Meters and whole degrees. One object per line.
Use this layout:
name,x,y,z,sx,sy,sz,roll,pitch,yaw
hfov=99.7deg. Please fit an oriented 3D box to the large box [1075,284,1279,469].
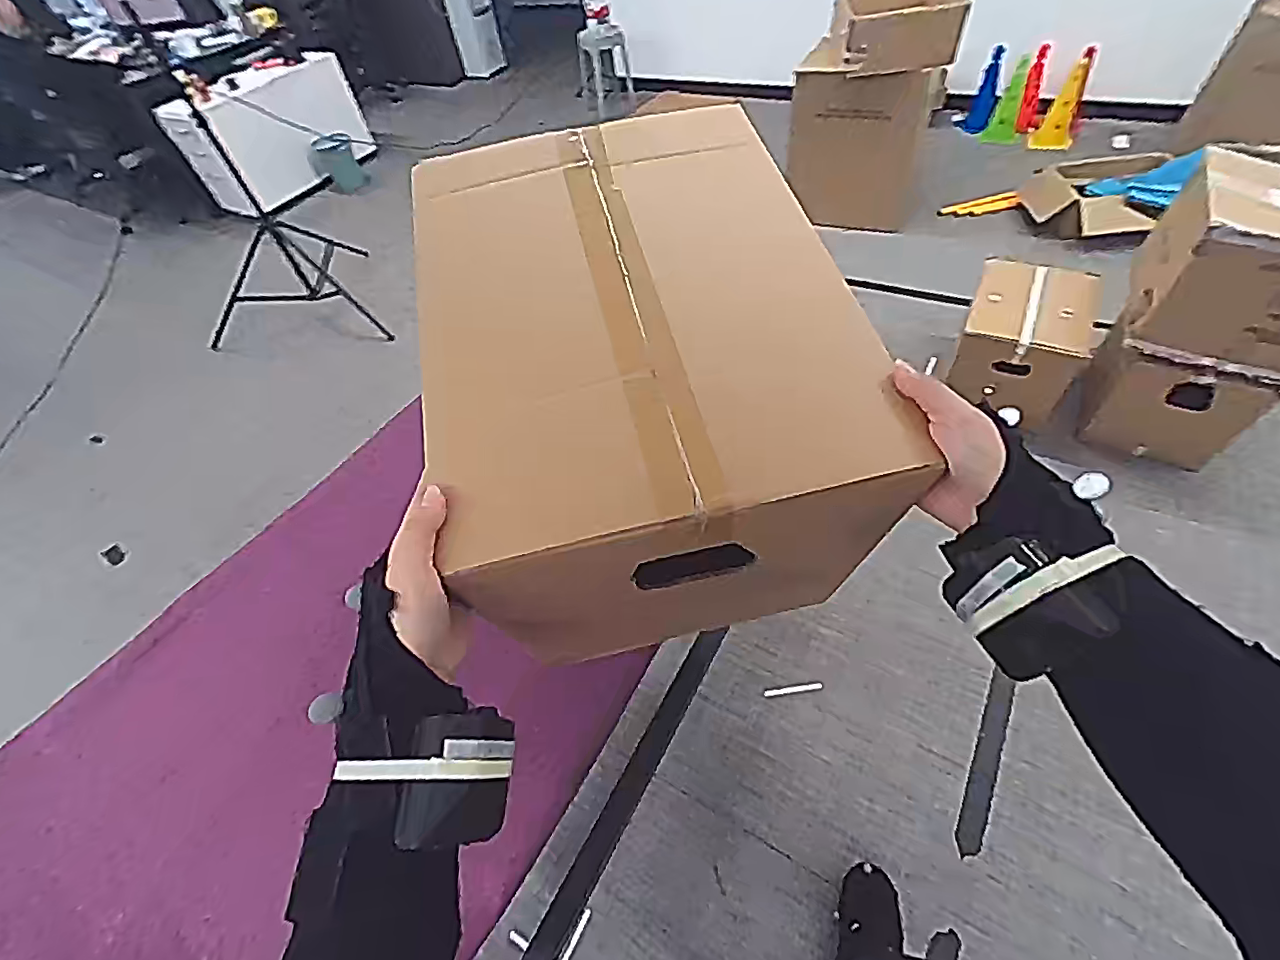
large box,1.547,-0.309,1.590,0.320,0.320,0.408,20,58,23
